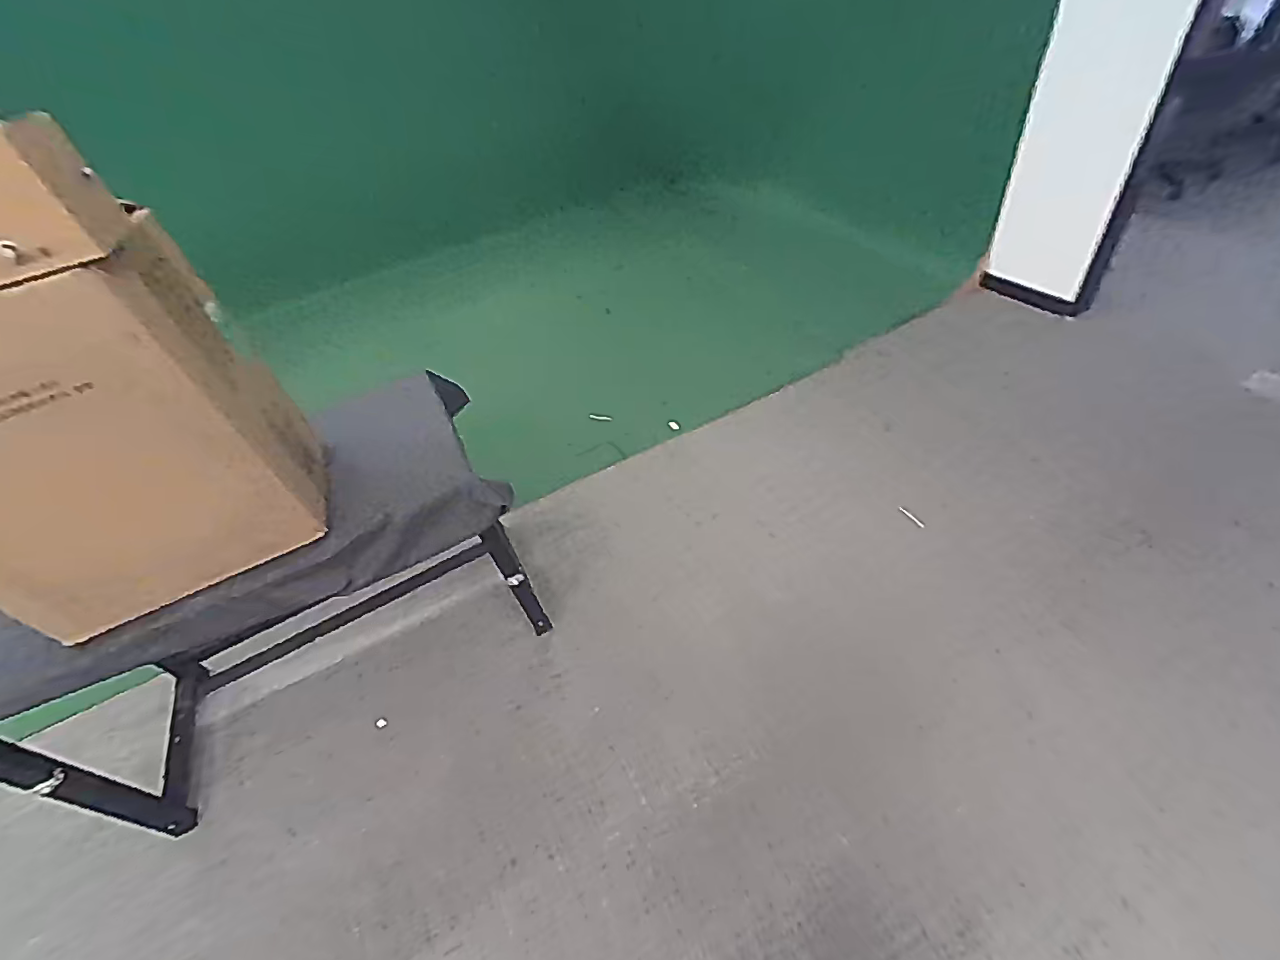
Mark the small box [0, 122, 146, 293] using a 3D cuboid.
[{"bbox_3d":[-0.890,-0.402,0.798,0.168,0.176,0.179,-25,46,-11],"label":"small box"}]
